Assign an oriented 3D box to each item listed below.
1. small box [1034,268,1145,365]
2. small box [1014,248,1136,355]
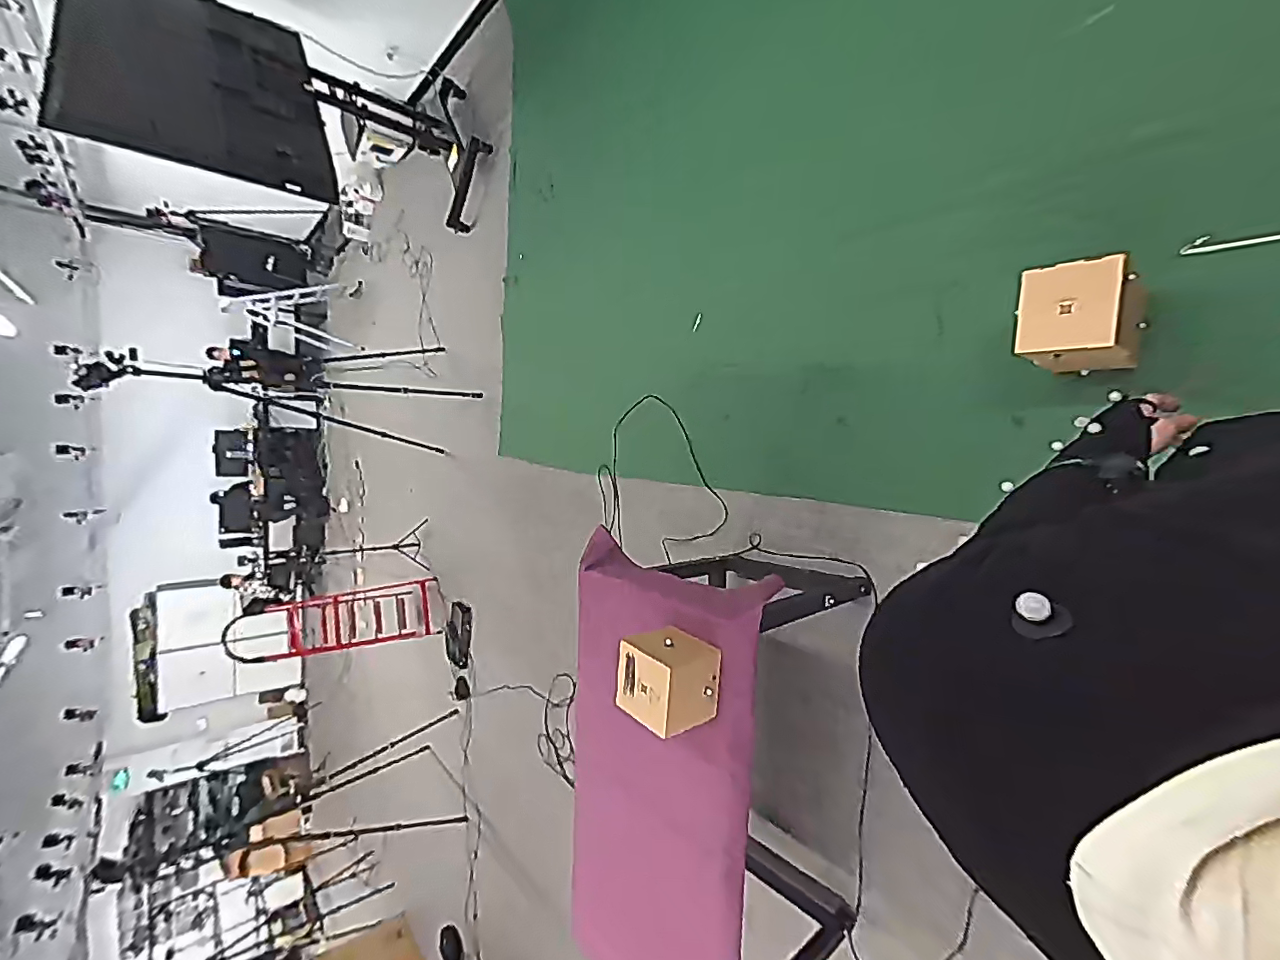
[{"bbox_3d":[1.036,-0.366,1.246,0.168,0.176,0.179,8,98,49],"label":"small box"},{"bbox_3d":[0.916,-0.363,1.138,0.168,0.176,0.179,7,96,49],"label":"small box"}]
